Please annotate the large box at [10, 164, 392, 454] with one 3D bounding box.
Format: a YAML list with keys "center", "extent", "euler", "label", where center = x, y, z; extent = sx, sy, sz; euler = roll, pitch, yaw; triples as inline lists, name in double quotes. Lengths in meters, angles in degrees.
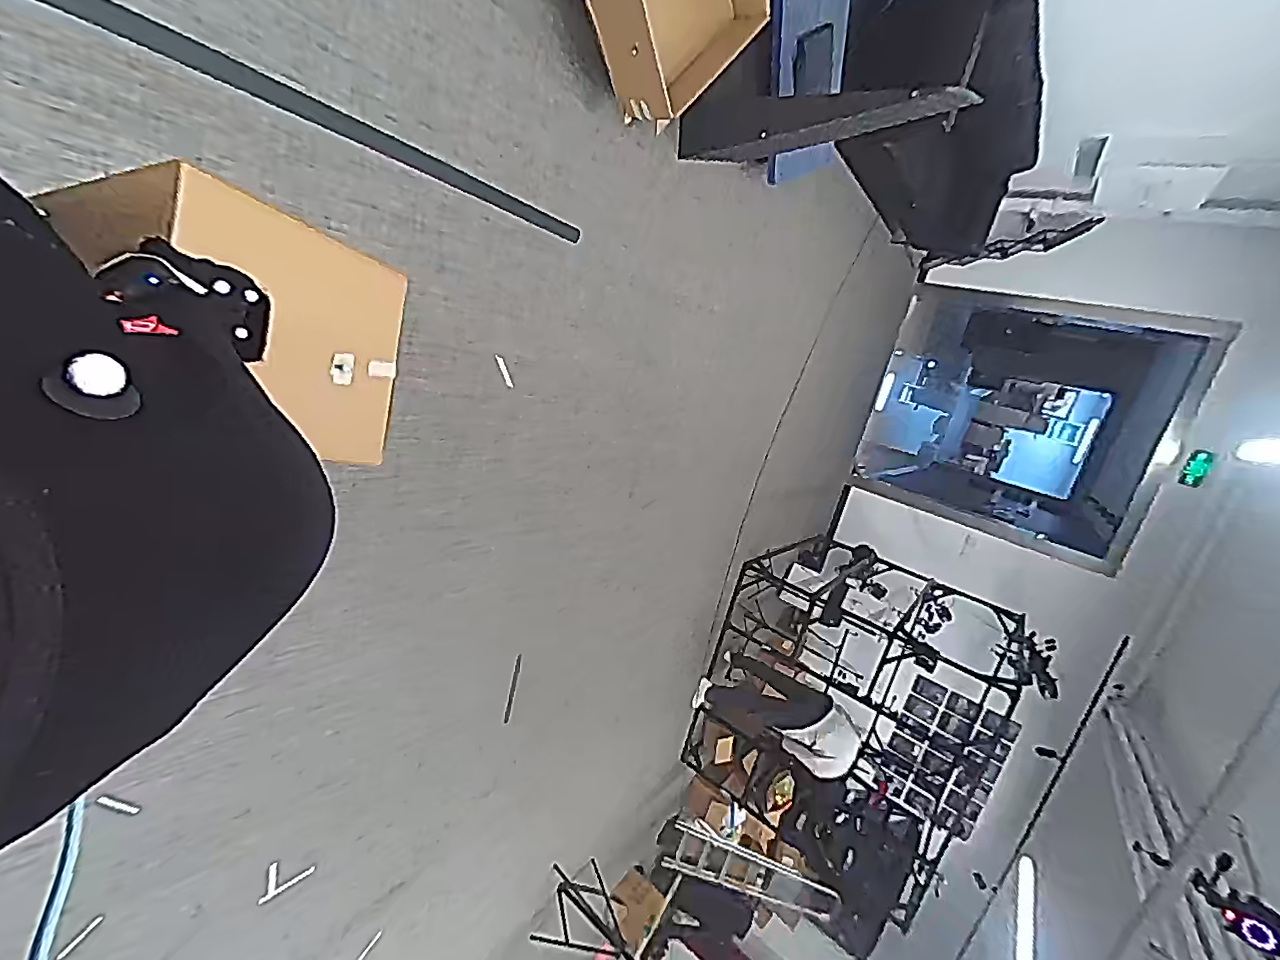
- center: [-0.640, -0.209, 0.815]
  extent: [0.320, 0.408, 0.320]
  euler: [5, 91, -63]
  label: "large box"
